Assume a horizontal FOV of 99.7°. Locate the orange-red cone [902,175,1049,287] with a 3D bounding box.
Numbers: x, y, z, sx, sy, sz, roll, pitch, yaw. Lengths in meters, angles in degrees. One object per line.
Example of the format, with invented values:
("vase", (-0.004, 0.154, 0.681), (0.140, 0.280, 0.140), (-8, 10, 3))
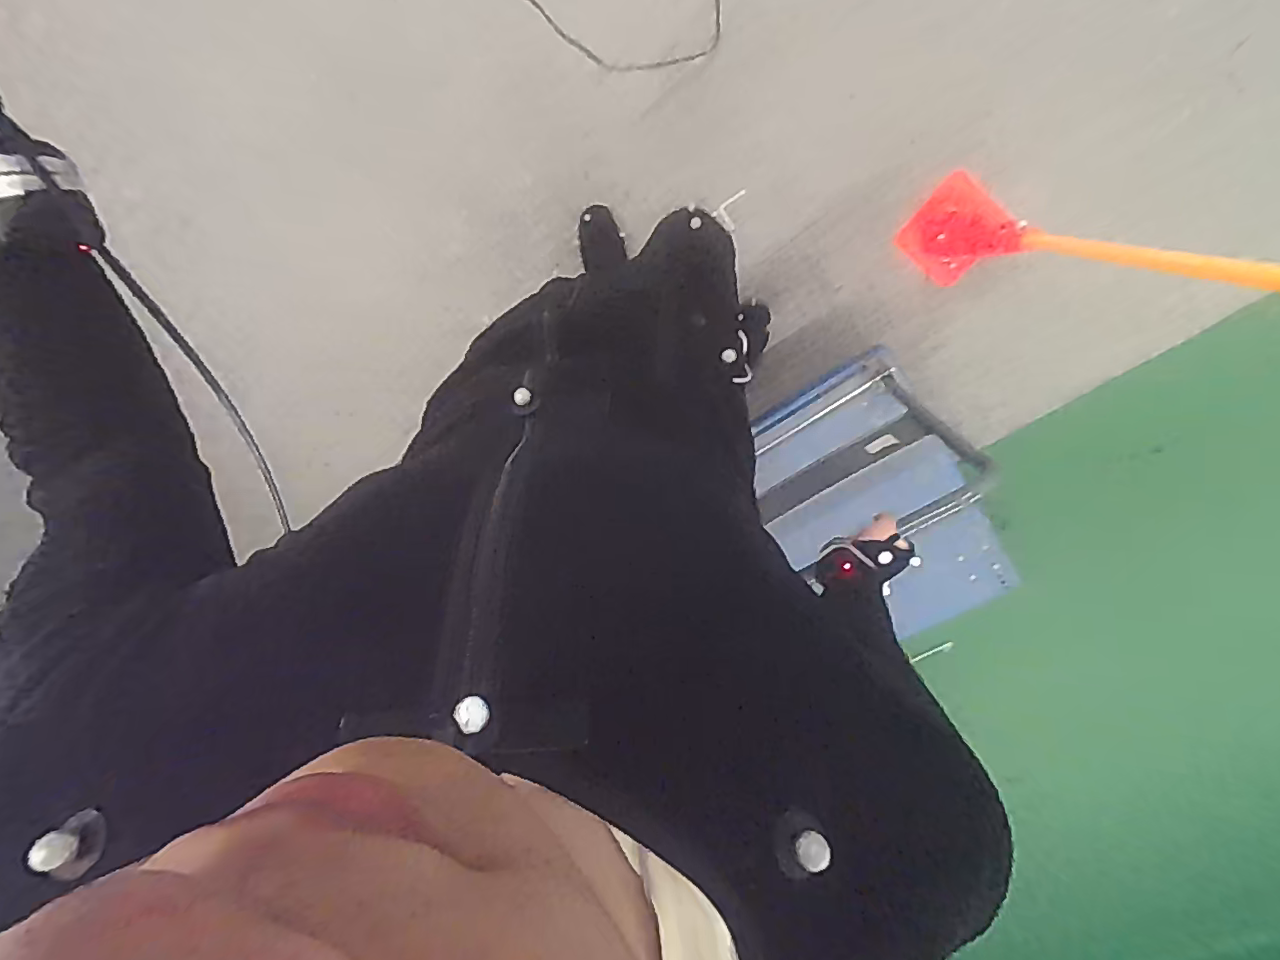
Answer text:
("orange-red cone", (0.763, -0.529, 1.171), (0.198, 0.360, 0.199), (35, 114, -13))
